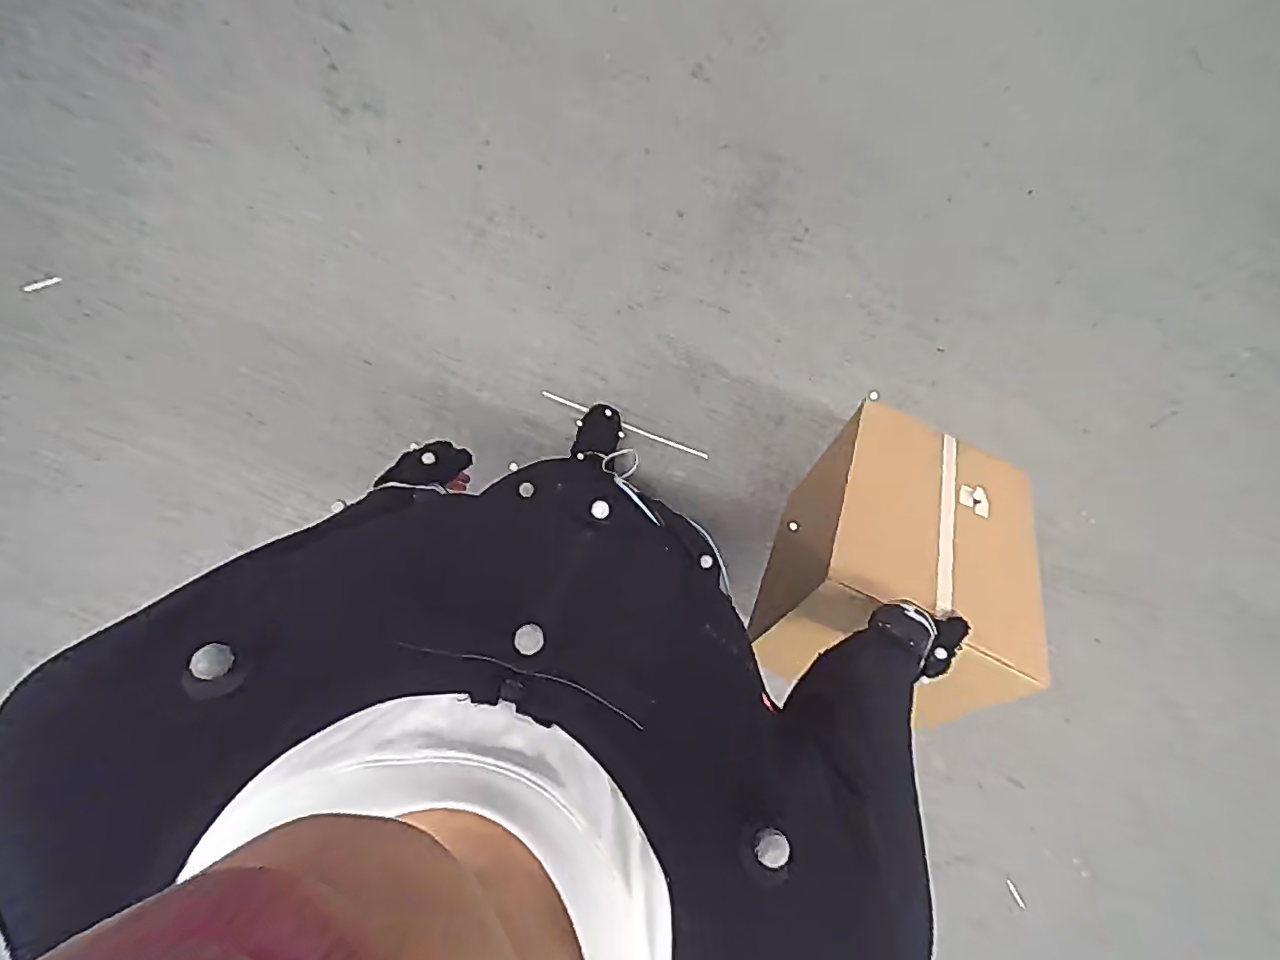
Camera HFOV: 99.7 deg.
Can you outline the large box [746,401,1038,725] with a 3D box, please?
[{"bbox_3d":[0.425,0.145,0.956,0.320,0.320,0.408,27,51,3],"label":"large box"}]
